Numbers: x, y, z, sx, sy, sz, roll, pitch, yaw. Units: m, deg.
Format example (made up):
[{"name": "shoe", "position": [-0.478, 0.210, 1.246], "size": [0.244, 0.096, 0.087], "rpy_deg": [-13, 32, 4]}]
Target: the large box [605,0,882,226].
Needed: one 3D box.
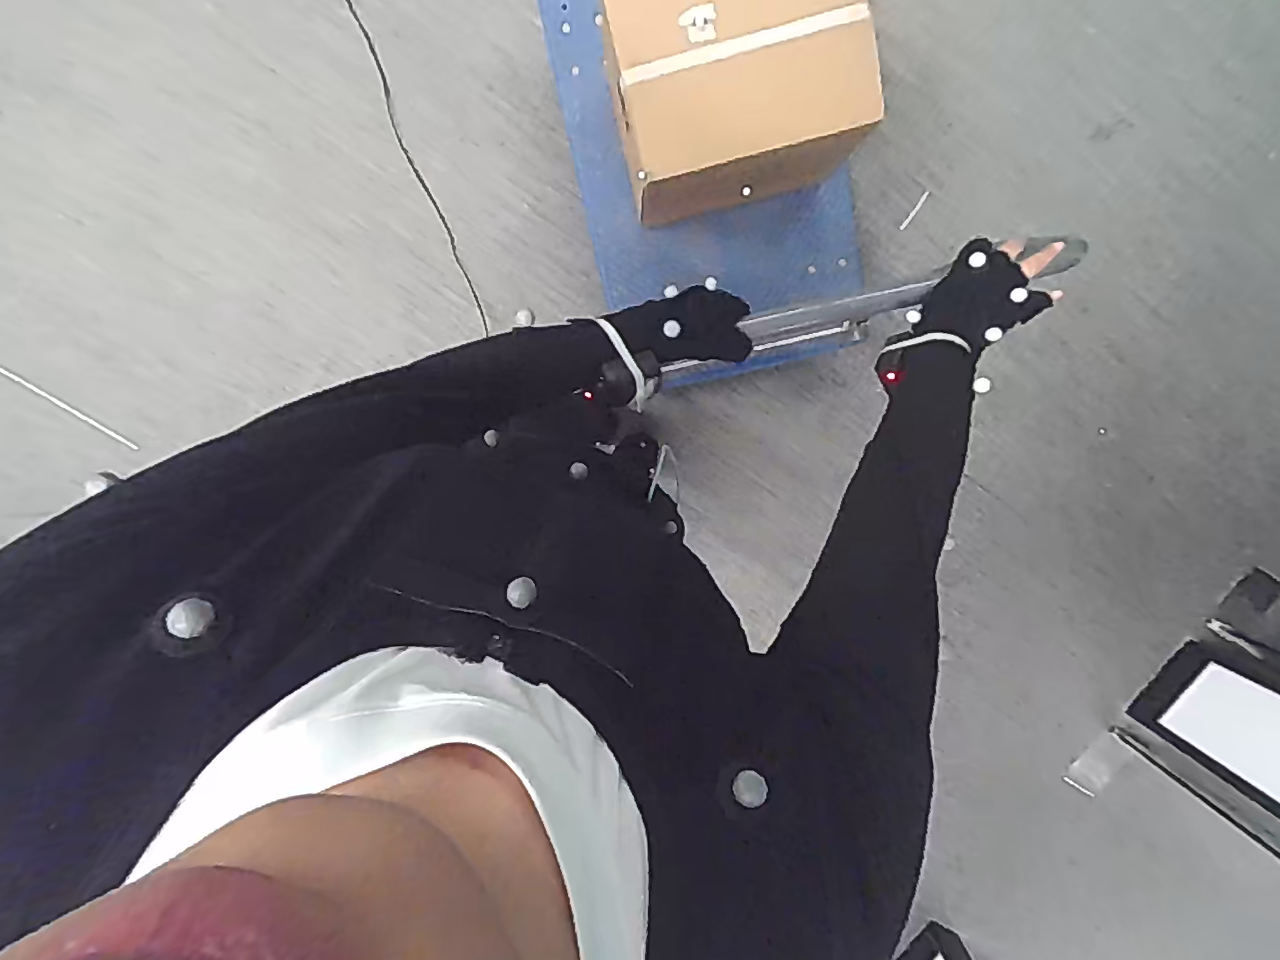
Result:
[{"name": "large box", "position": [0.172, -0.719, 1.015], "size": [0.408, 0.320, 0.320], "rpy_deg": [-14, 101, 3]}]
